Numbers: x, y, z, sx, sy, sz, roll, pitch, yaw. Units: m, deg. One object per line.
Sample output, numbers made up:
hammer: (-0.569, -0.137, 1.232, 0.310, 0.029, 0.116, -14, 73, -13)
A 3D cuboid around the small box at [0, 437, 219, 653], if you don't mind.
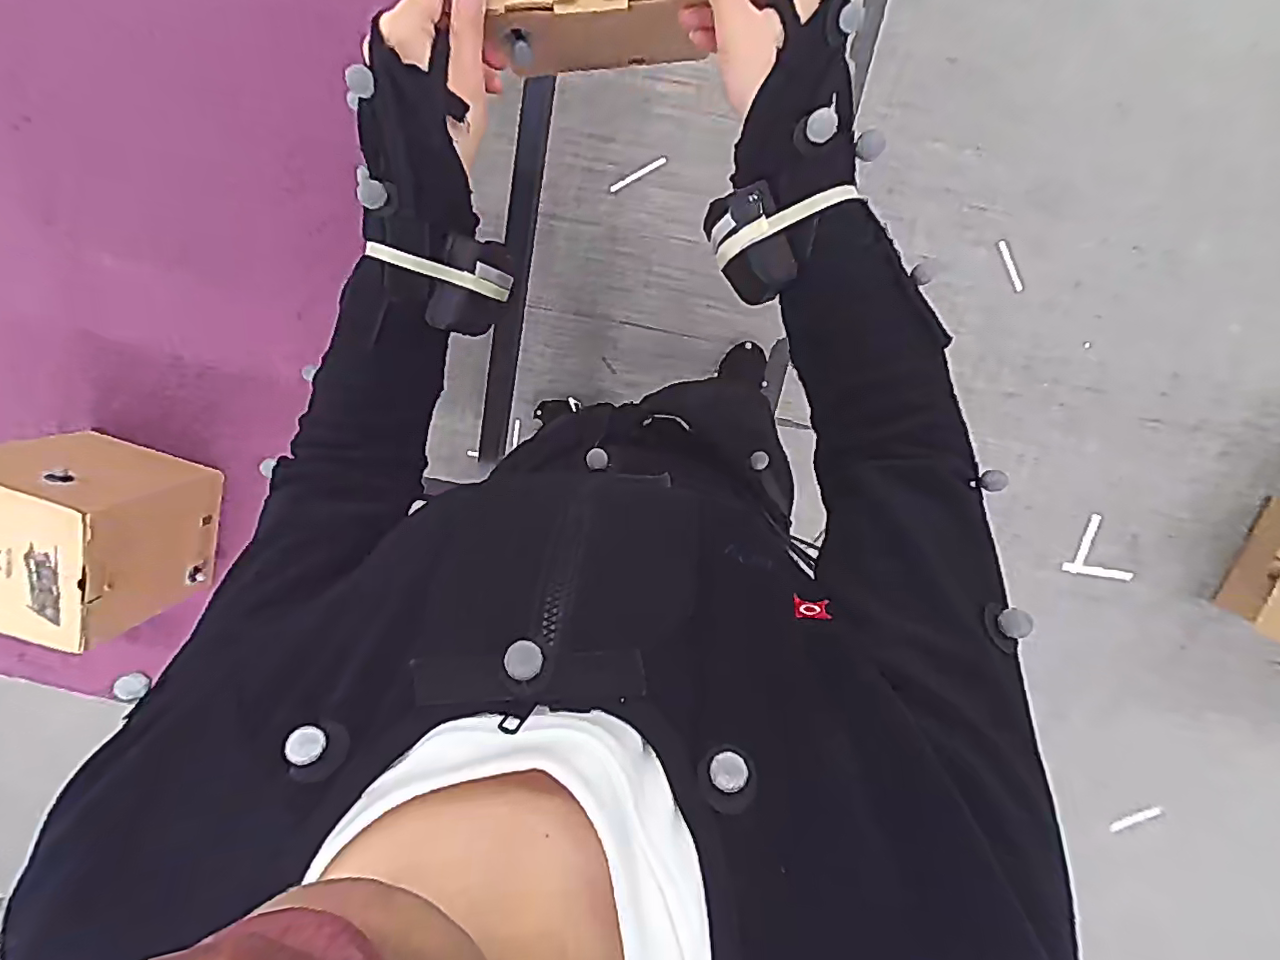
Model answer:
small box: (-0.627, 0.060, 0.611, 0.179, 0.176, 0.168, 18, 104, -1)
